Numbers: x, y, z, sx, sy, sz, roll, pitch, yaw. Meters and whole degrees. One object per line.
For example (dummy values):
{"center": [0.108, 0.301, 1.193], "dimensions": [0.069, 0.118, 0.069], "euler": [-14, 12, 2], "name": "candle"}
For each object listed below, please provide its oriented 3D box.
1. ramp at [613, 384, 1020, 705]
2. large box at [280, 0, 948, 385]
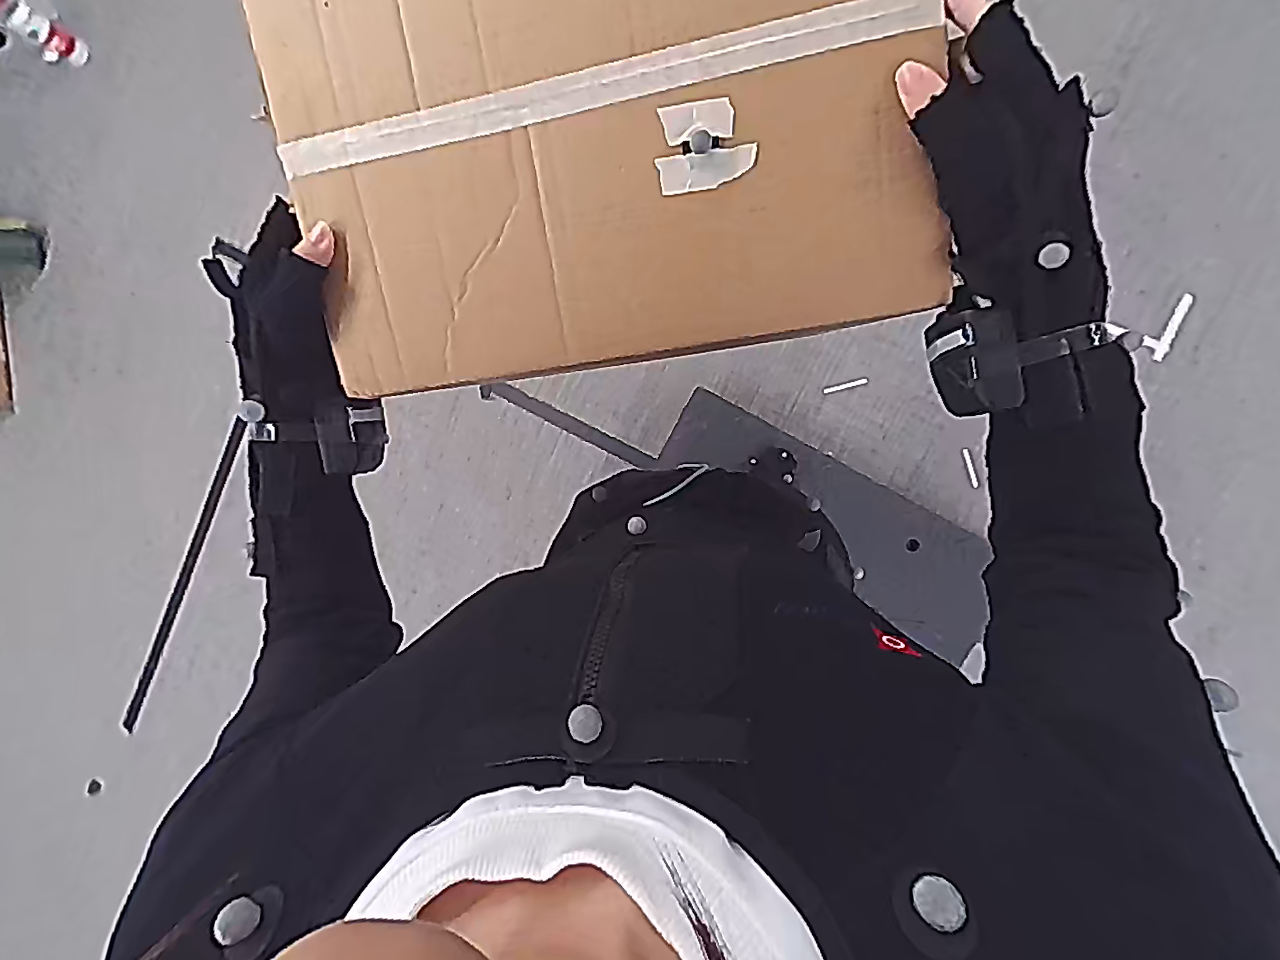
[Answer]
{"center": [0.474, 0.184, 1.456], "dimensions": [0.991, 0.206, 0.509], "euler": [27, 95, 8], "name": "ramp"}
{"center": [-0.008, -0.274, 0.482], "dimensions": [0.408, 0.320, 0.320], "euler": [-7, 103, 8], "name": "large box"}
